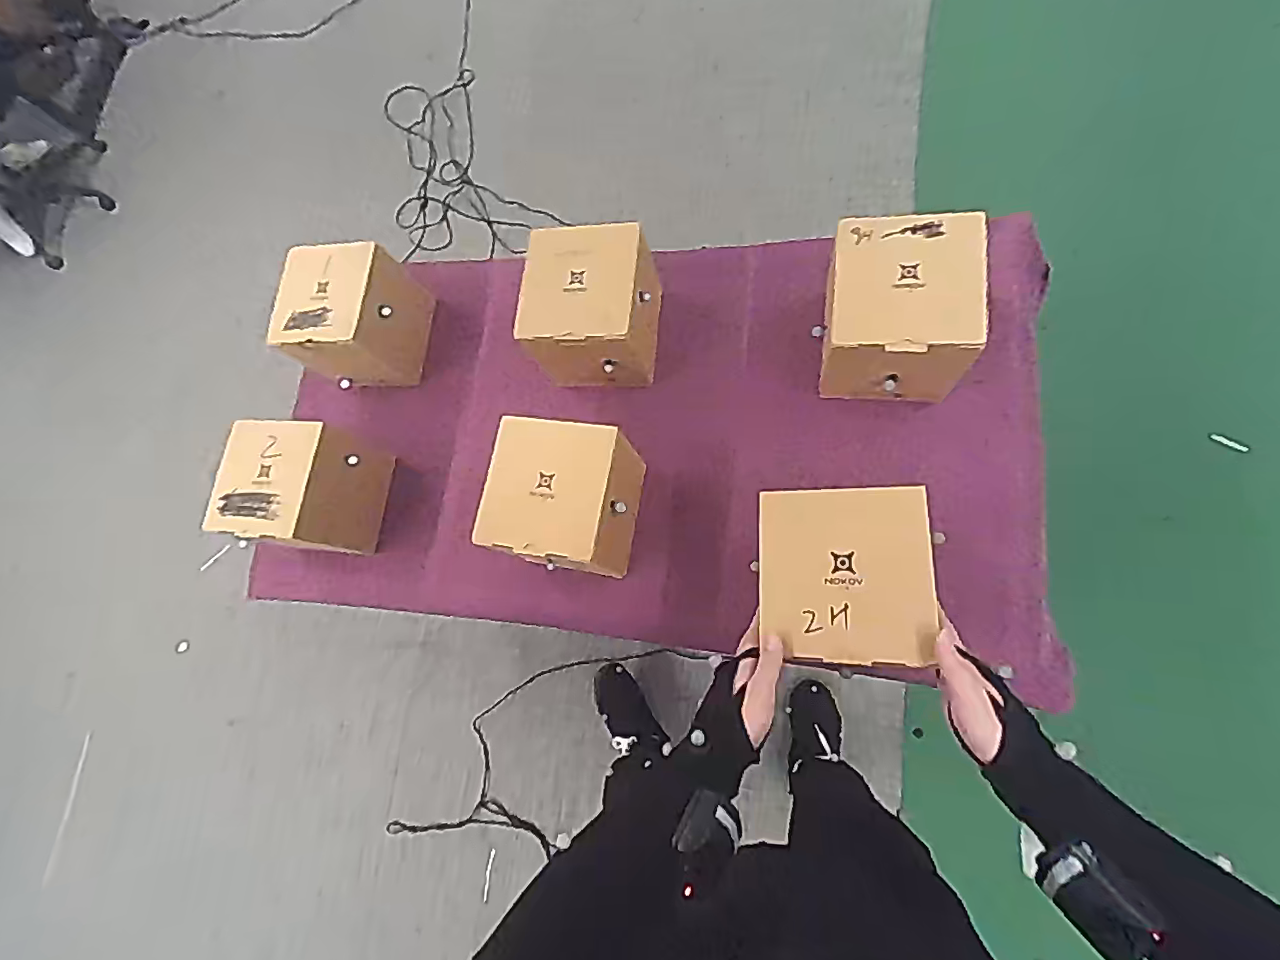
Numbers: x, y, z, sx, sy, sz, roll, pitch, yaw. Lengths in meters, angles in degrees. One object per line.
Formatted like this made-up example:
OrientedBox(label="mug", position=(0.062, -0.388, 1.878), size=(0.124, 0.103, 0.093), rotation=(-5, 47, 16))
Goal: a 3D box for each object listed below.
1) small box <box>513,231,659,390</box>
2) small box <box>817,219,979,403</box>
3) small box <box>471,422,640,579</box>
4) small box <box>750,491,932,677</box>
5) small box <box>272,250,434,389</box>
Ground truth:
OrientedBox(label="small box", position=(-0.071, -0.246, 0.825), size=(0.168, 0.176, 0.179), rotation=(3, 77, 14))
OrientedBox(label="small box", position=(0.328, -0.210, 0.715), size=(0.168, 0.176, 0.179), rotation=(4, 78, 15))
OrientedBox(label="small box", position=(-0.105, 0.035, 0.761), size=(0.168, 0.176, 0.179), rotation=(7, 77, 15))
OrientedBox(label="small box", position=(0.219, 0.121, 0.606), size=(0.168, 0.176, 0.179), rotation=(-3, 71, 21))
OrientedBox(label="small box", position=(-0.480, -0.263, 0.930), size=(0.168, 0.176, 0.179), rotation=(1, 77, 14))
